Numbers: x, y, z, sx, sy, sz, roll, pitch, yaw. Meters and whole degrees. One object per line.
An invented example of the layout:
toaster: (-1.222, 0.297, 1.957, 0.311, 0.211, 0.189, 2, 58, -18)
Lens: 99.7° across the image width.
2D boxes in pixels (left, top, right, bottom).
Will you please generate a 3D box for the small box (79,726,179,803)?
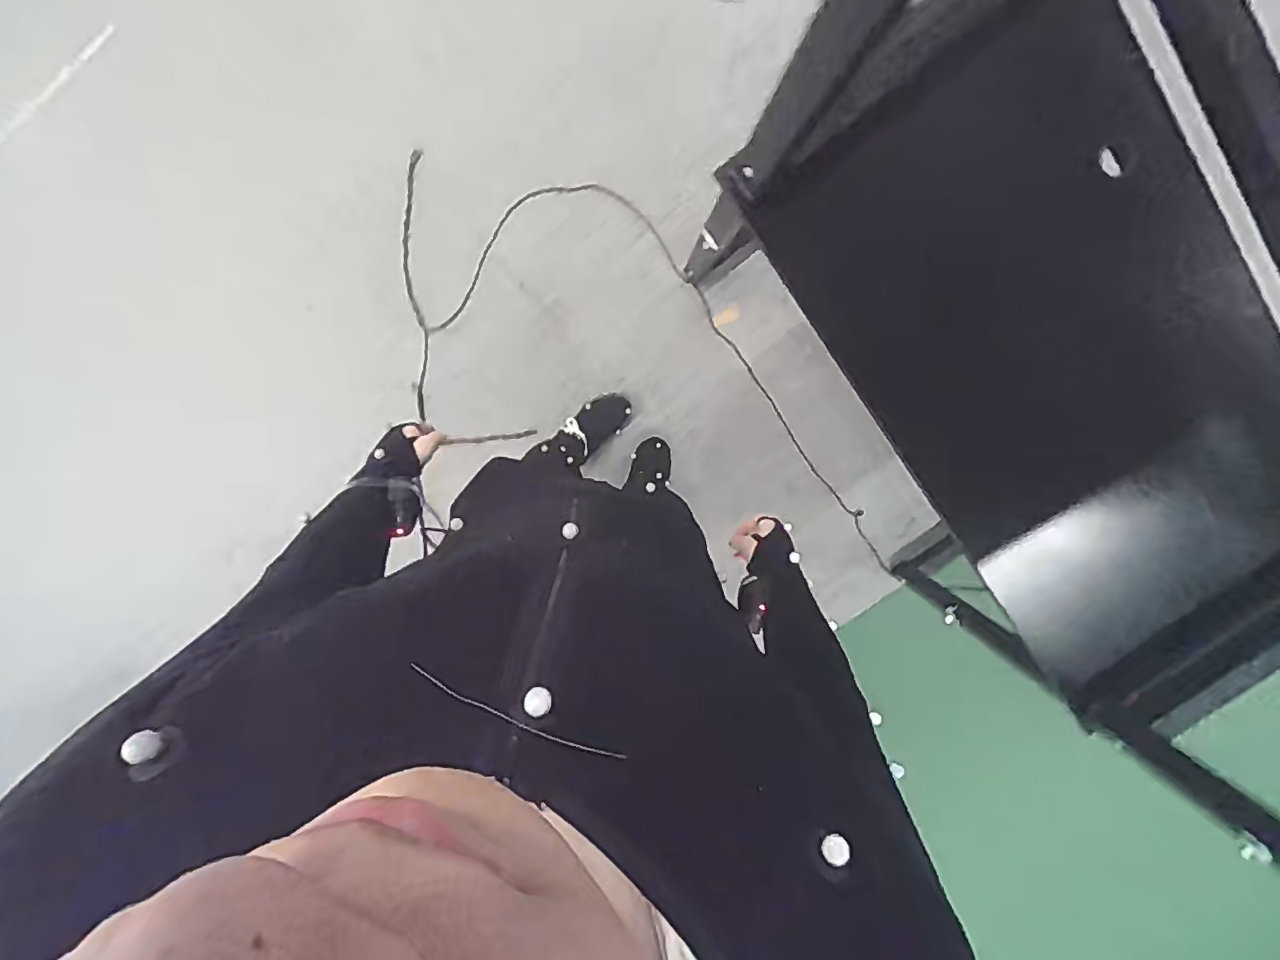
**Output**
small box: (-1.568, 0.894, 1.644, 0.179, 0.176, 0.168, -35, 100, 5)
